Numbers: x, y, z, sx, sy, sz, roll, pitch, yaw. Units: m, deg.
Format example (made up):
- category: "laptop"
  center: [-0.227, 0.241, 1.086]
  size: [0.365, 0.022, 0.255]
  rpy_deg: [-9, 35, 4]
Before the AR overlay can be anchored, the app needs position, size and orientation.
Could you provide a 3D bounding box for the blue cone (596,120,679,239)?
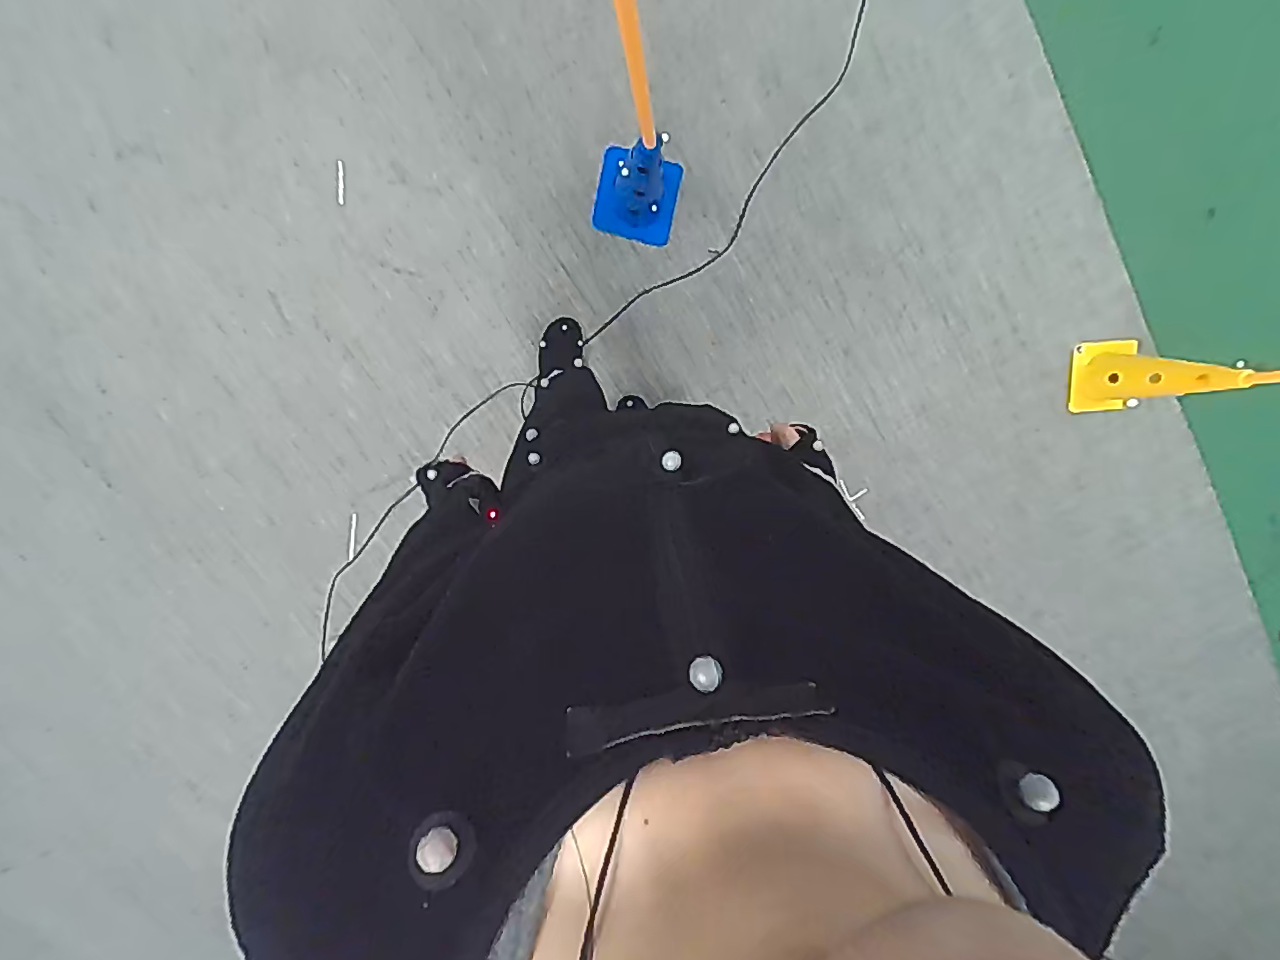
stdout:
- category: "blue cone"
  center: [0.003, -0.670, 1.172]
  size: [0.193, 0.380, 0.192]
  rpy_deg: [11, 102, -6]
